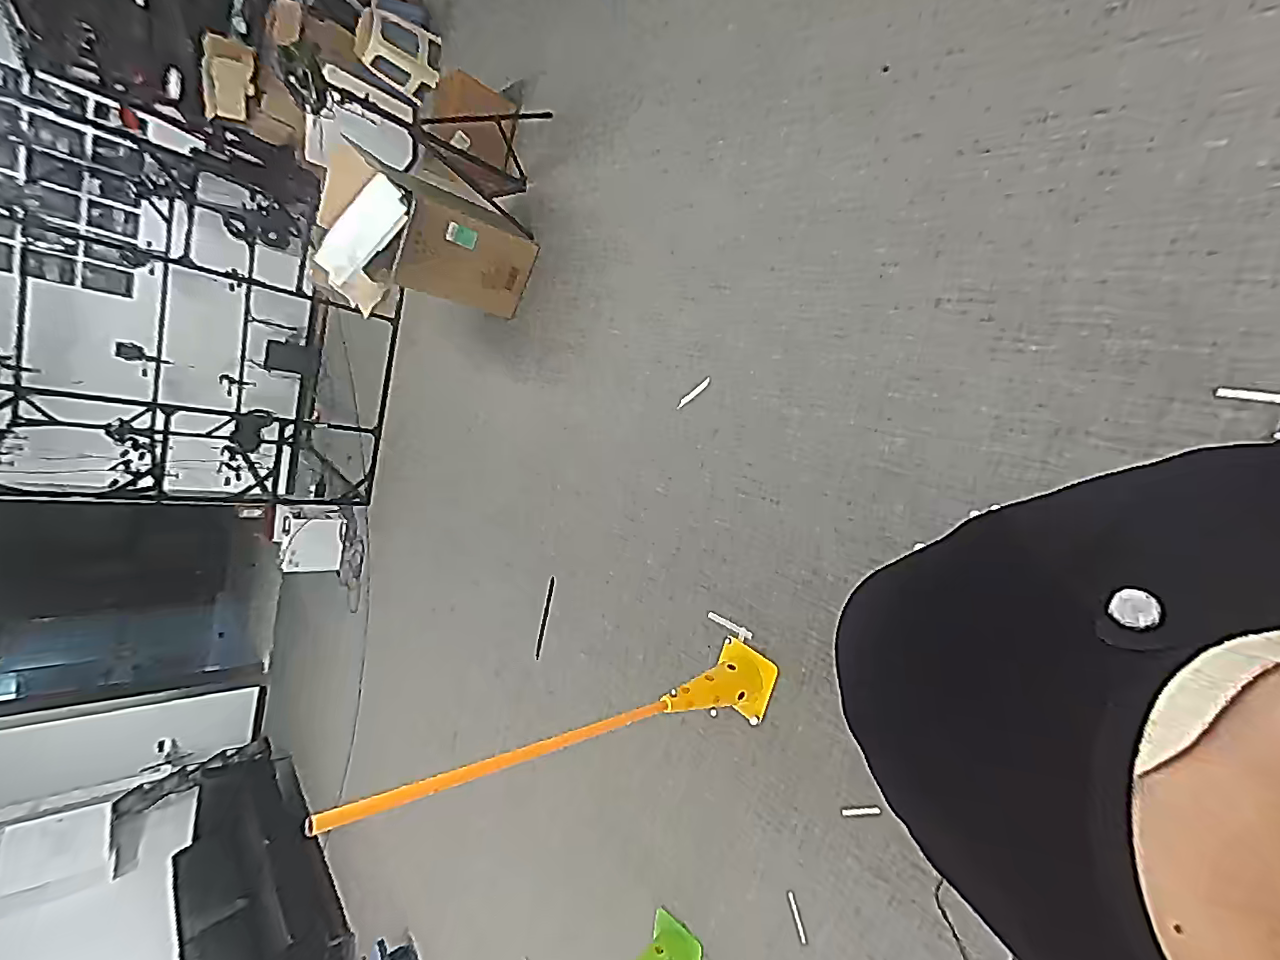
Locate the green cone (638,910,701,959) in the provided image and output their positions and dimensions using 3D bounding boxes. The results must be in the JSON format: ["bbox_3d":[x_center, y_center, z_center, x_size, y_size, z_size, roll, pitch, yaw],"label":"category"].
[{"bbox_3d":[-0.008,1.542,1.648,0.200,0.368,0.202,8,90,46],"label":"green cone"}]
